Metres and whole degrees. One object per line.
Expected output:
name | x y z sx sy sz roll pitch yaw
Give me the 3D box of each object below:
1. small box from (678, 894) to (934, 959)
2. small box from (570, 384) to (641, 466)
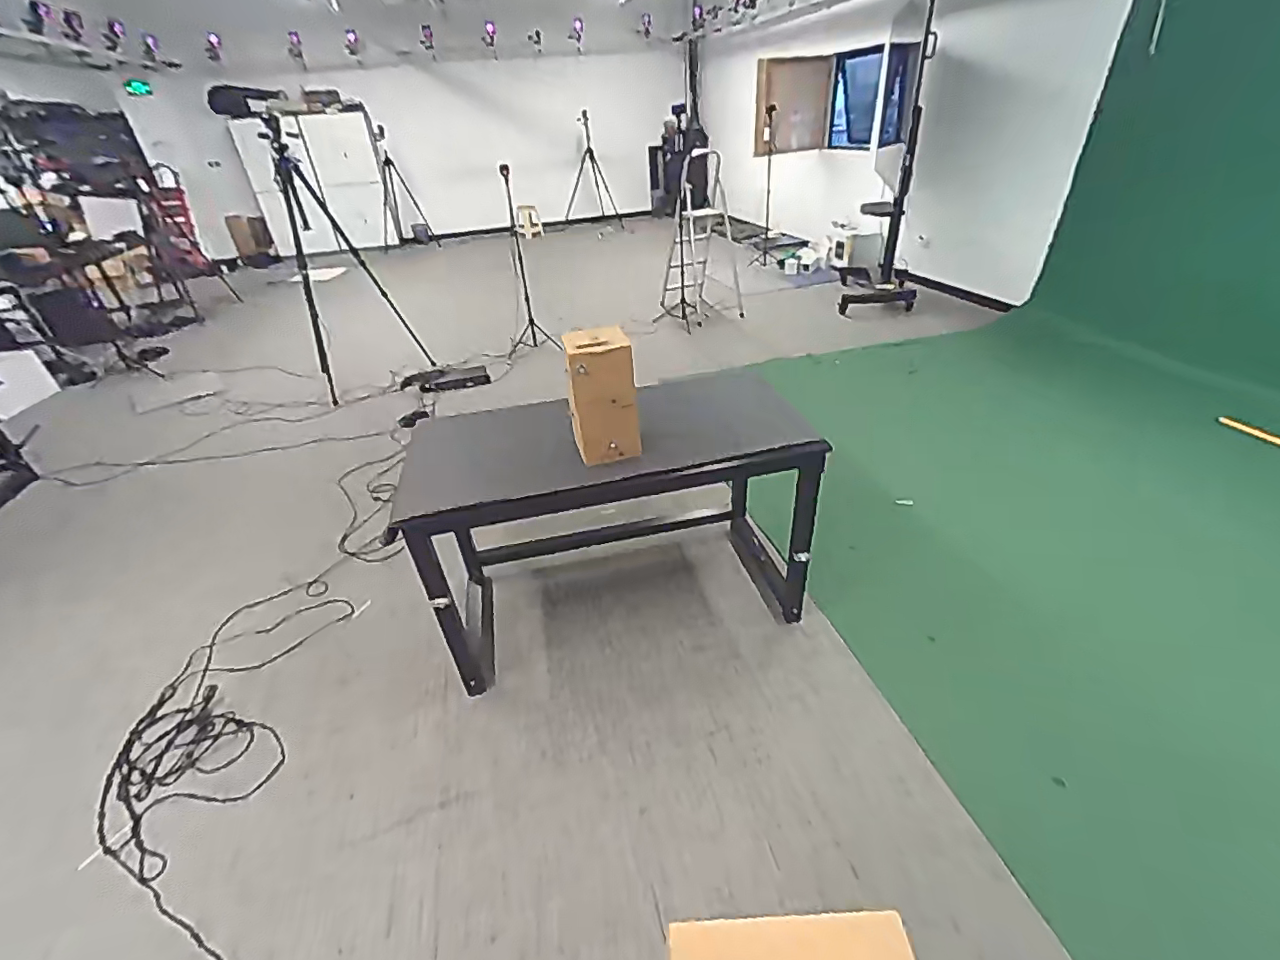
small box | 0.111 0.408 0.355 0.168 0.176 0.179 -2 36 -1
small box | -0.101 -0.159 1.559 0.168 0.176 0.179 -12 33 -11
